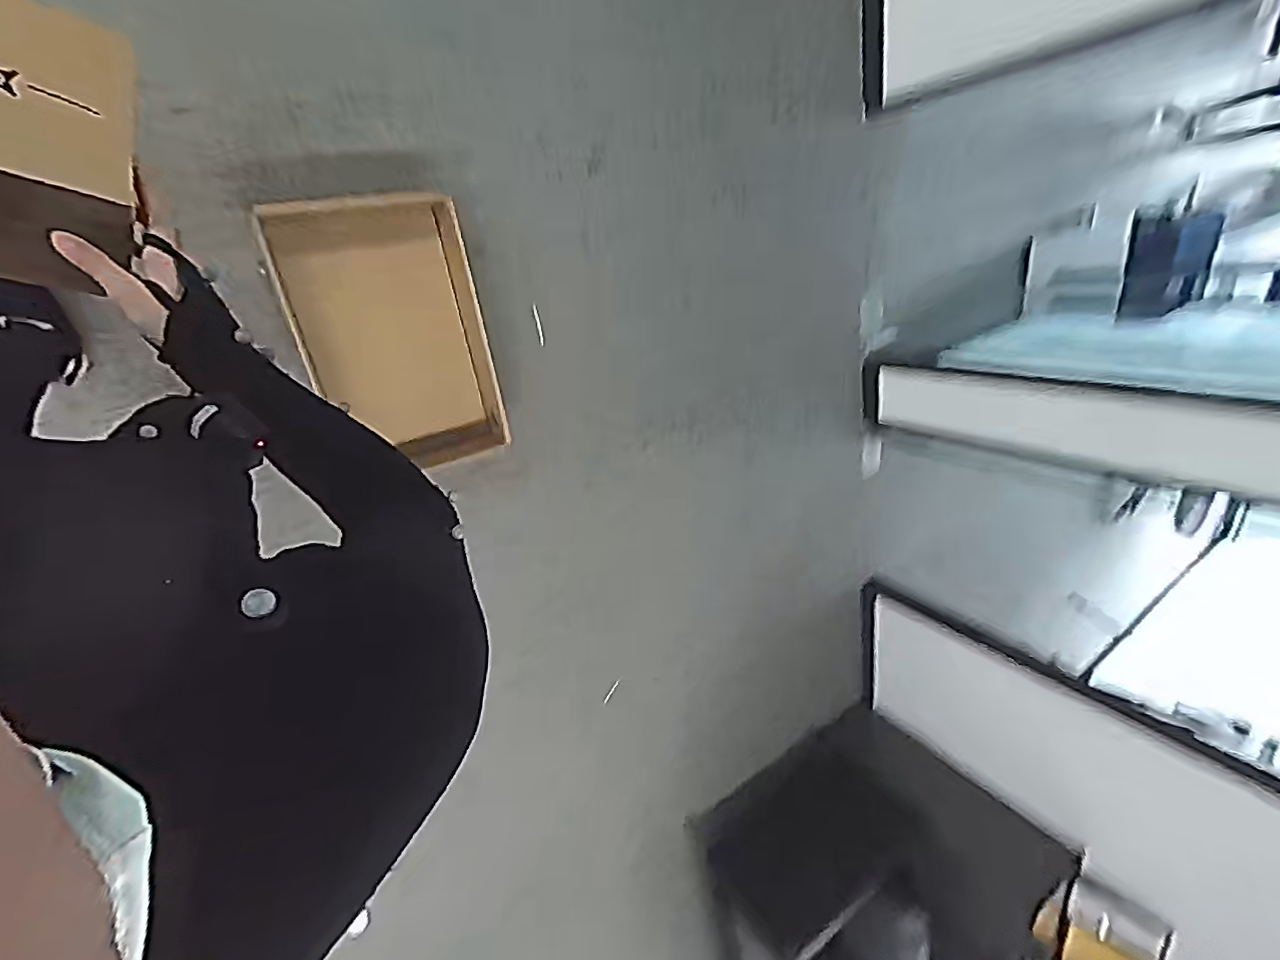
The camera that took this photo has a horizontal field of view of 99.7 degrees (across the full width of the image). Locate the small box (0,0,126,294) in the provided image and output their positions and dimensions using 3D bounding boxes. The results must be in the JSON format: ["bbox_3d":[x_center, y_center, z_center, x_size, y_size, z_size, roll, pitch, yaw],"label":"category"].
[{"bbox_3d":[-0.556,-0.282,0.455,0.179,0.176,0.168,0,75,-45],"label":"small box"}]
